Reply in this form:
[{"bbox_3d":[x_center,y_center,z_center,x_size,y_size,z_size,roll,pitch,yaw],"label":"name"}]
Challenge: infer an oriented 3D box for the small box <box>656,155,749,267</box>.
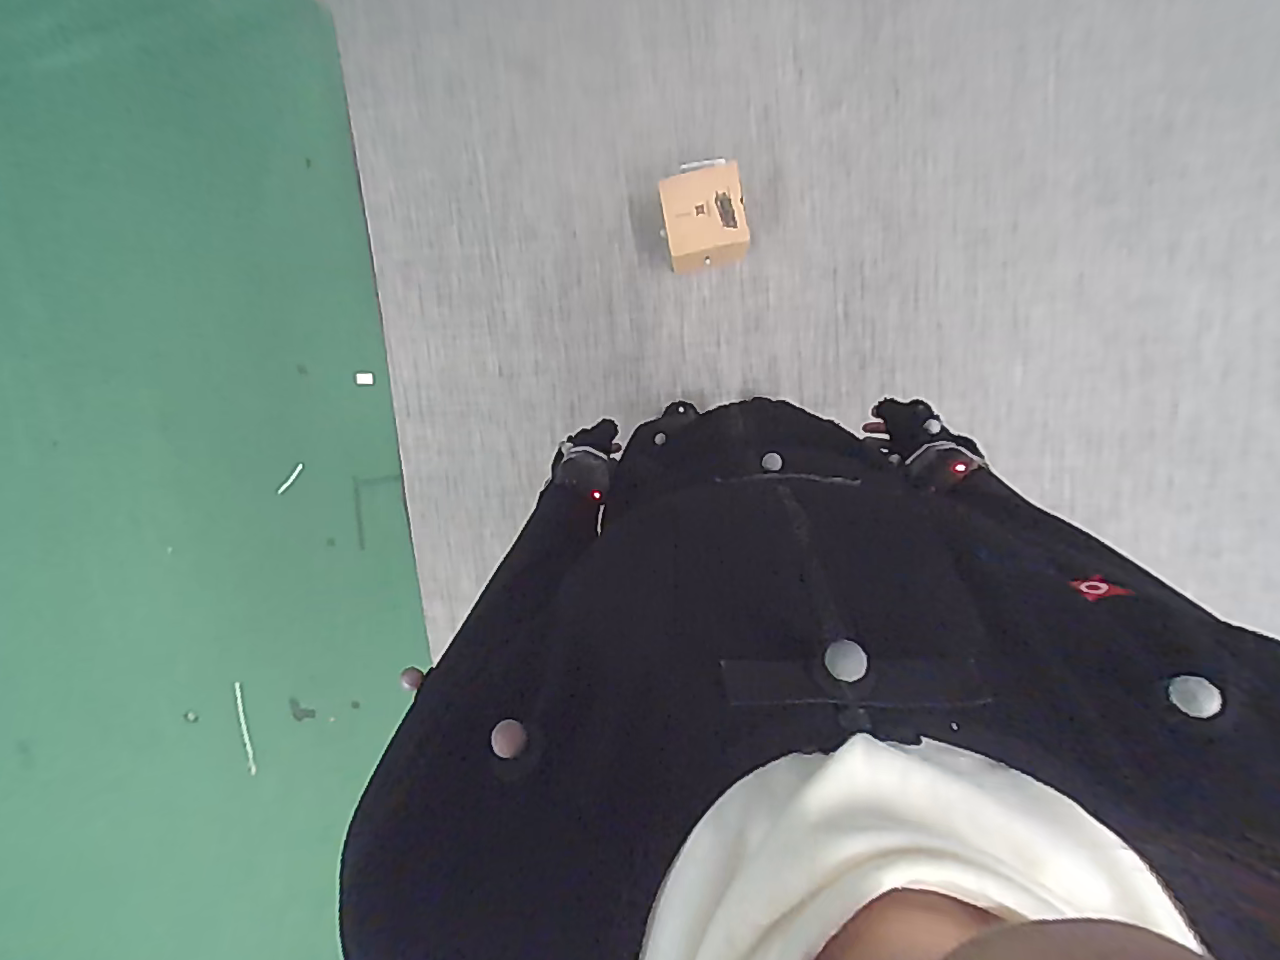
[{"bbox_3d":[0.142,-0.612,1.251,0.179,0.176,0.168,-14,98,7],"label":"small box"}]
